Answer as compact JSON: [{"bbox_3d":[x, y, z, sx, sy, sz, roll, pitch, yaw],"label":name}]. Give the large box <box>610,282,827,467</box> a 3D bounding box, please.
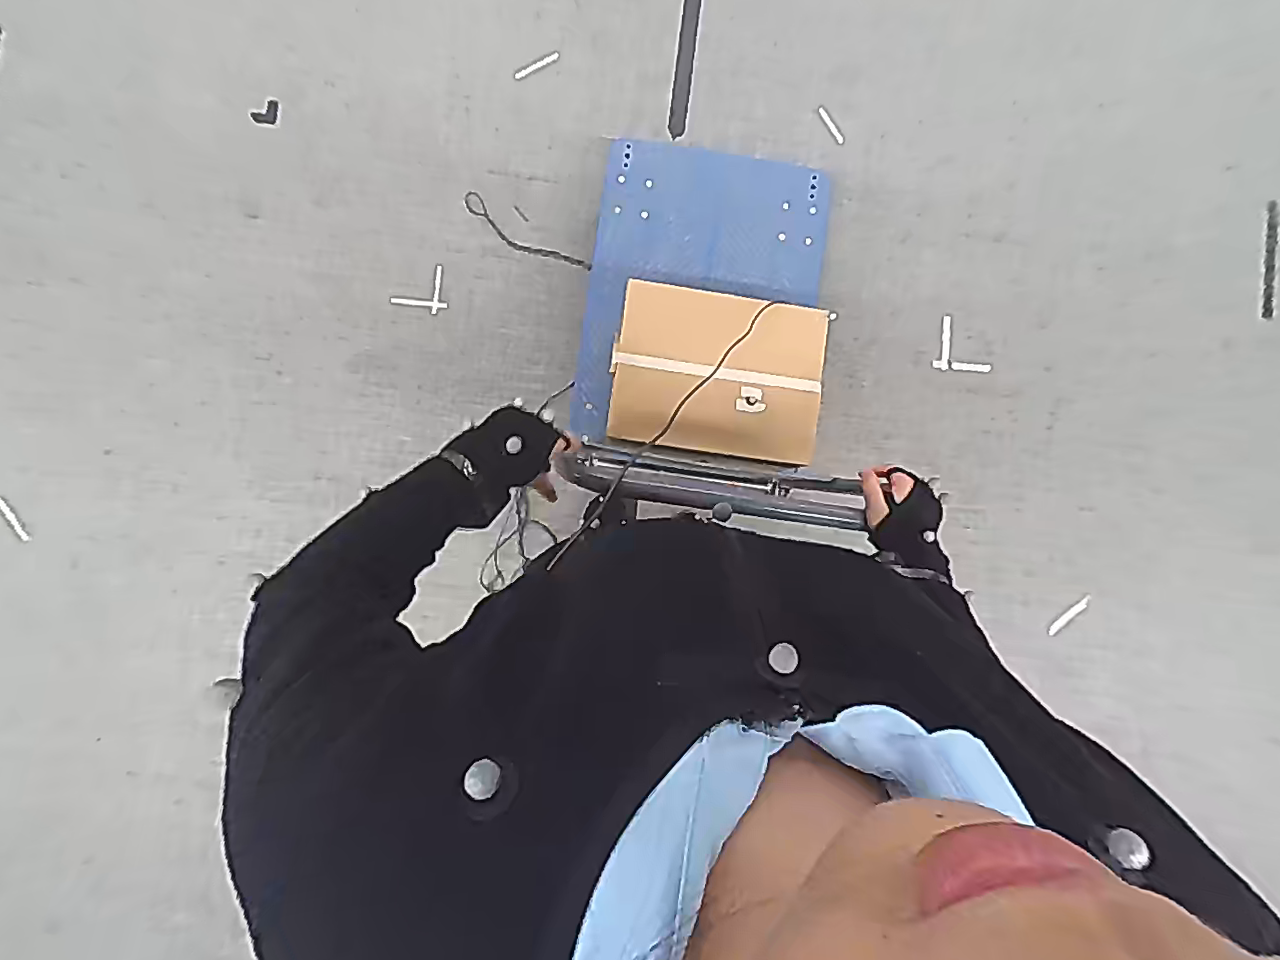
[{"bbox_3d":[0.149,-0.209,1.209,0.408,0.320,0.320,8,89,-4],"label":"large box"}]
